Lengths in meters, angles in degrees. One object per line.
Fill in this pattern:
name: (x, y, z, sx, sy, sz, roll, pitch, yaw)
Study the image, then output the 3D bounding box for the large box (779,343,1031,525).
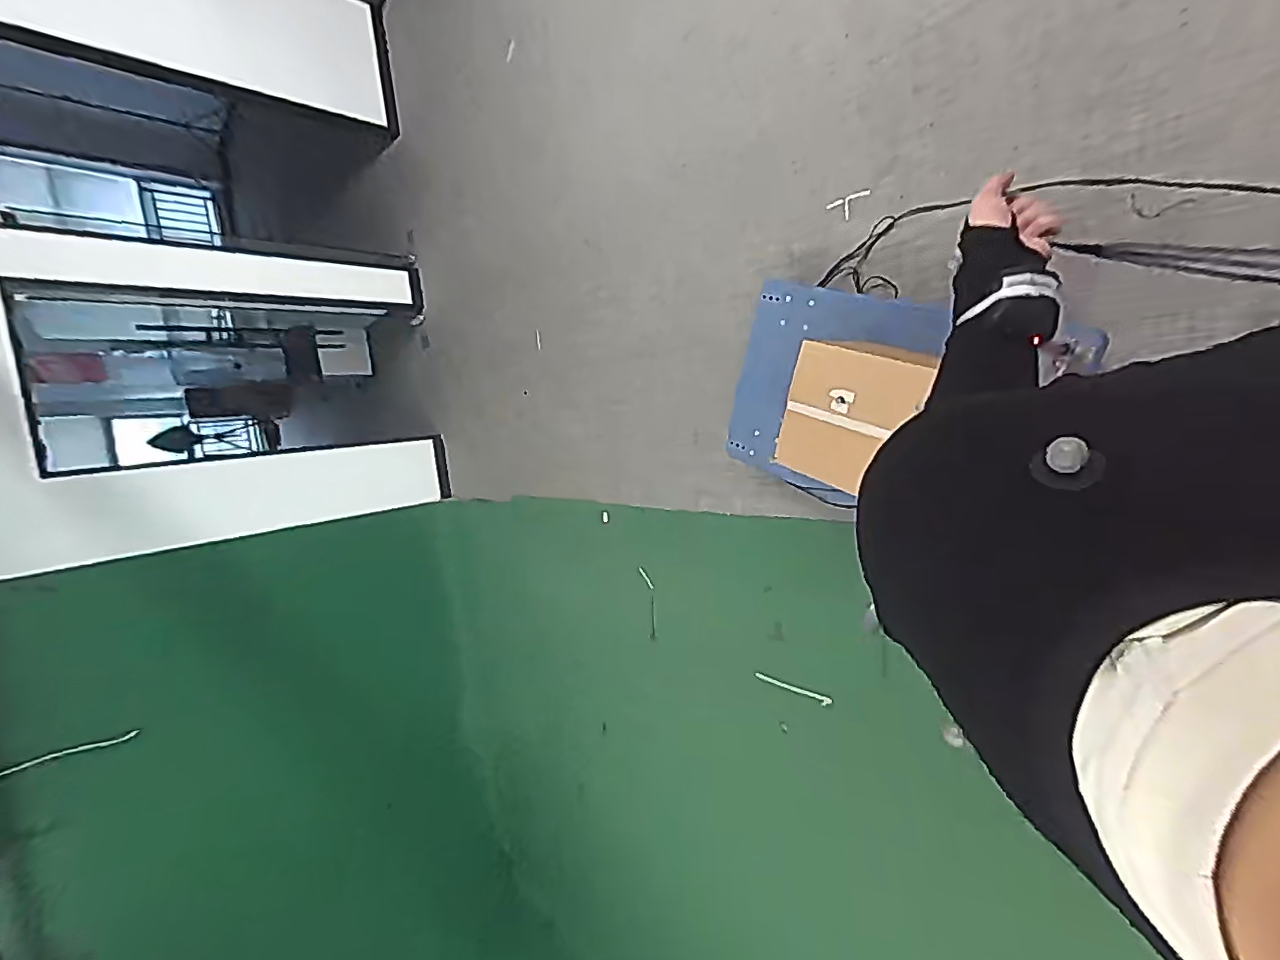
large box: (0.612, -0.134, 1.283, 0.408, 0.320, 0.320, 29, 118, 42)
